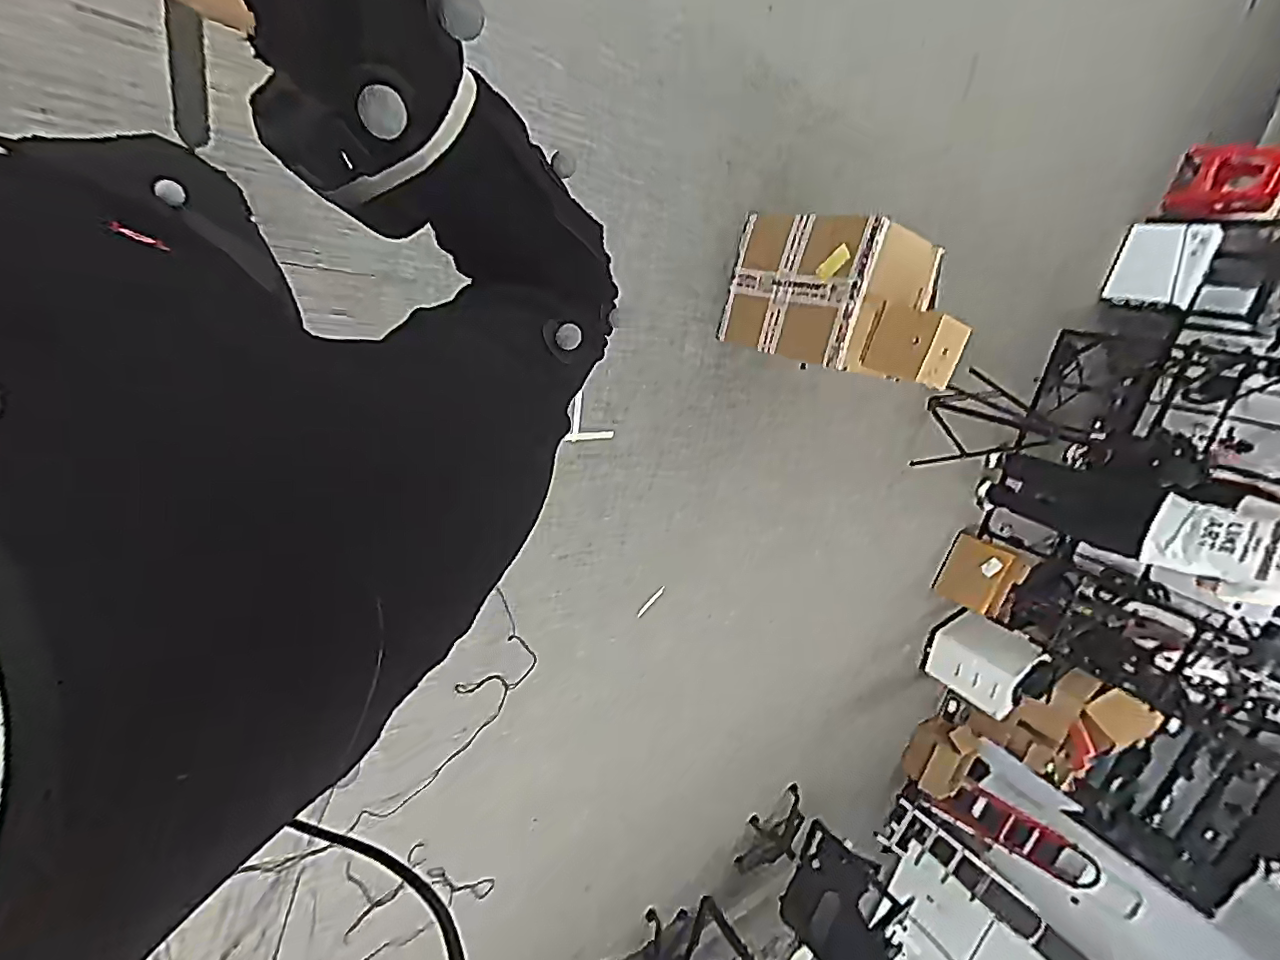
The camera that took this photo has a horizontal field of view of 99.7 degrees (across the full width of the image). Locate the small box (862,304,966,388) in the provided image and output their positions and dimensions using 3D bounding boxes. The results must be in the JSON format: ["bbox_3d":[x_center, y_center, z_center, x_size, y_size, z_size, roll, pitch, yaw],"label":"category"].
[{"bbox_3d":[0.745,-0.371,1.484,0.168,0.176,0.179,5,110,-37],"label":"small box"}]
